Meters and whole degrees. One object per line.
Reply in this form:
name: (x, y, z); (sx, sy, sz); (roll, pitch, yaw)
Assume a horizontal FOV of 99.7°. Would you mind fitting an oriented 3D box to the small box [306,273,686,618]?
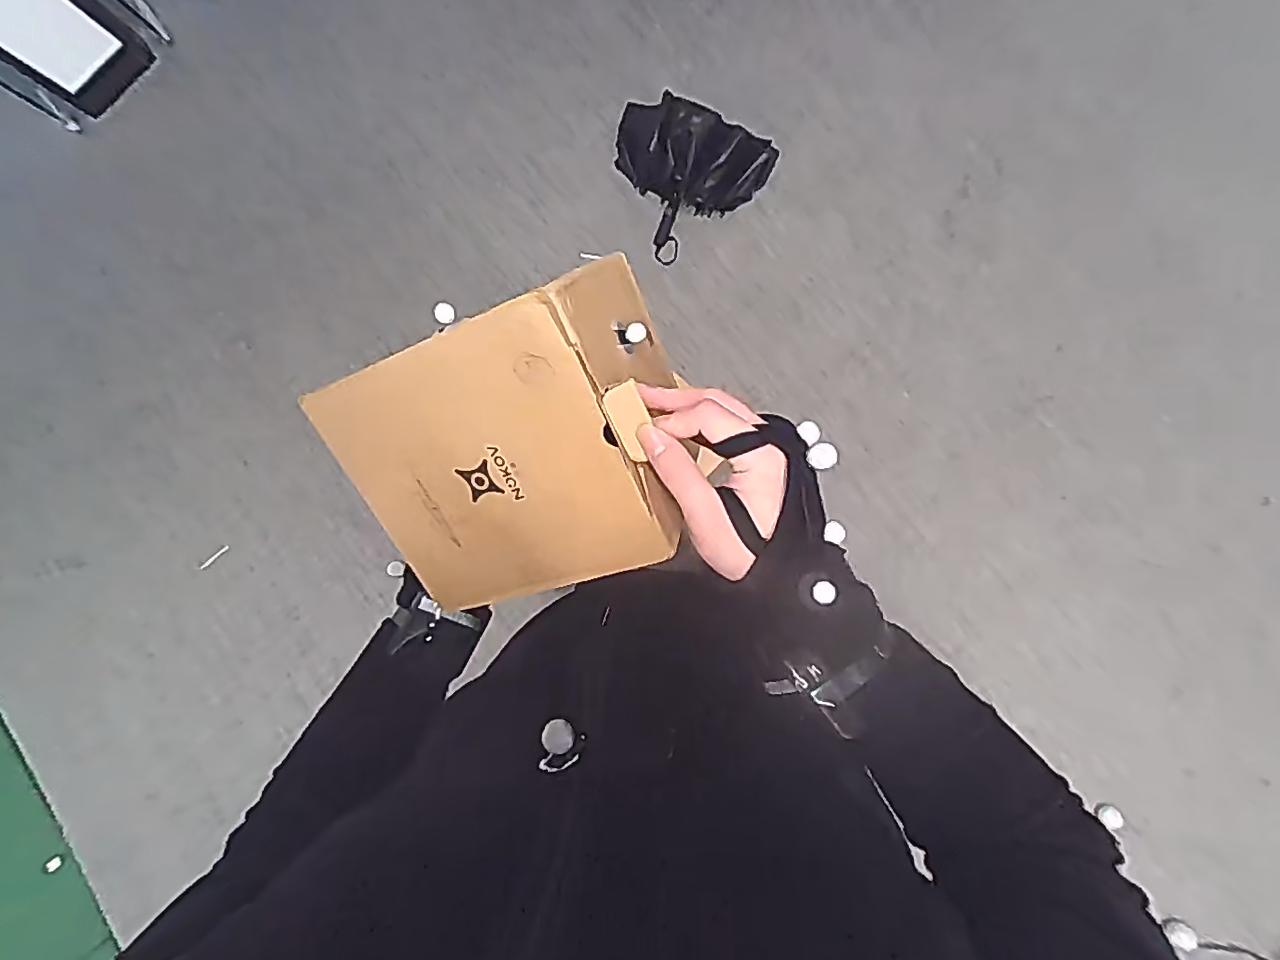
small box: (-0.075, -0.033, 0.386); (0.179, 0.176, 0.168); (-17, 110, 21)
